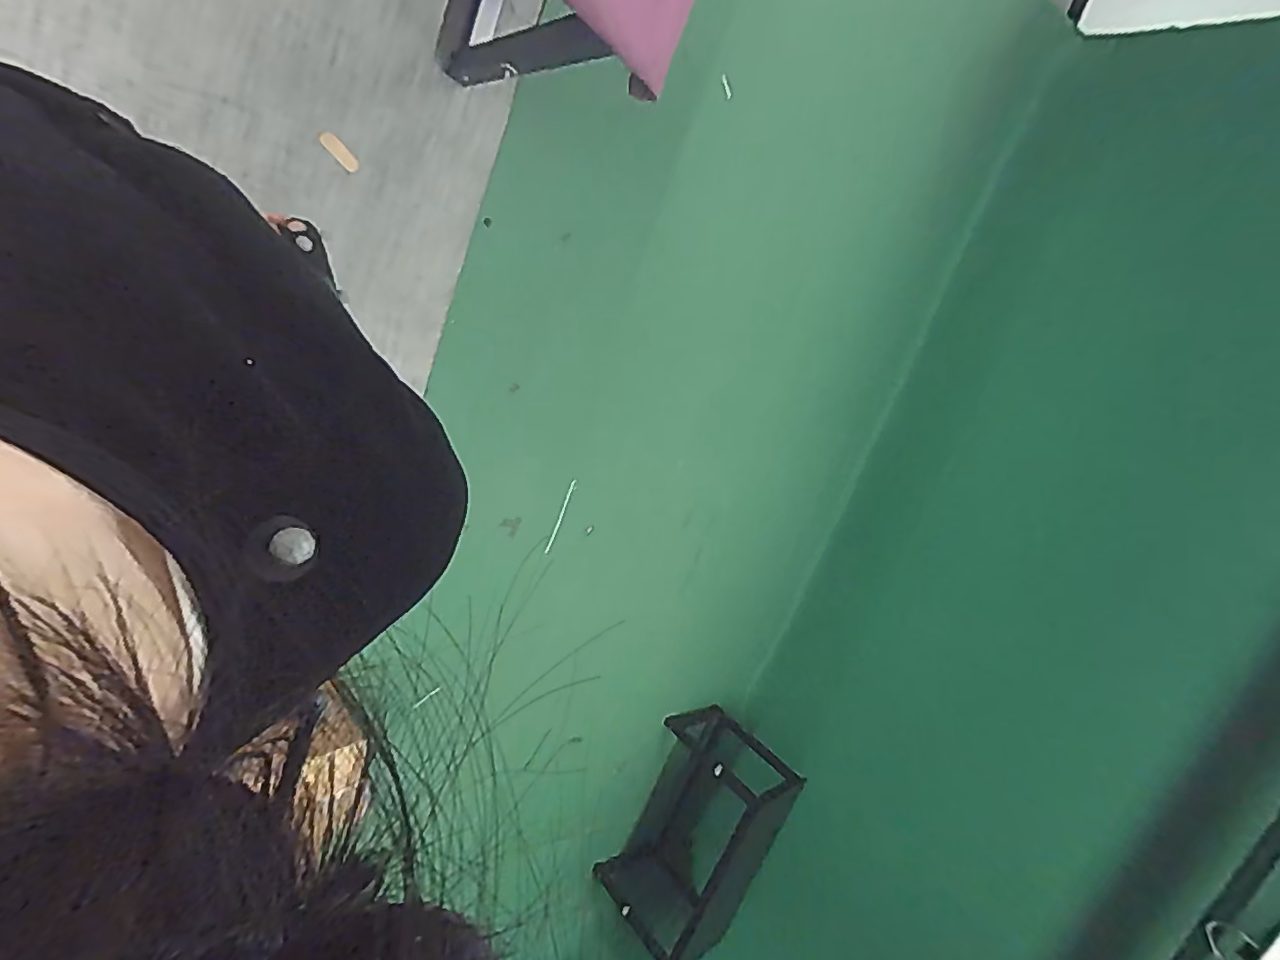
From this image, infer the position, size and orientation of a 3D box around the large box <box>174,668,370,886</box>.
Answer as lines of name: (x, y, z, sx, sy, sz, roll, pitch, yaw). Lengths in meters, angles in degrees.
large box: (-1.034, 0.811, 1.541, 0.408, 0.320, 0.320, -9, 120, -43)

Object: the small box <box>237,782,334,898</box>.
small box: (-0.895, 0.909, 1.363, 0.179, 0.176, 0.168, -4, 114, -43)
